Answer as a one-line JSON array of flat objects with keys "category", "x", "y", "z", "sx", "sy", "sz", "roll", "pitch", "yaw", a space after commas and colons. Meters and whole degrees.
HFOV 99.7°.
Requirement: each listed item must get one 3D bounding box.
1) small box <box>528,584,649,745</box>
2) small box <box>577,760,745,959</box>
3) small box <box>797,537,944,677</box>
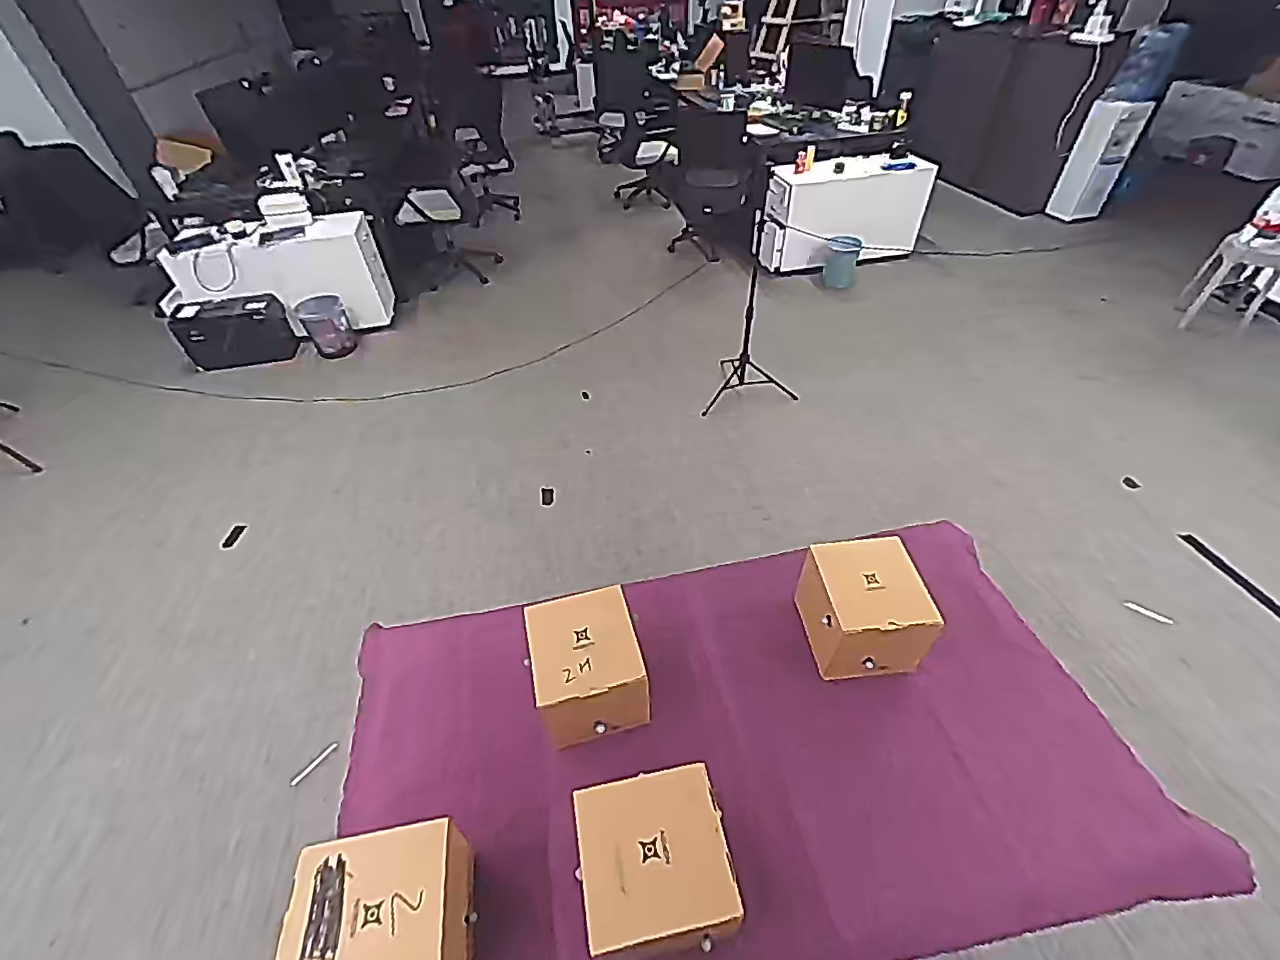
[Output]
[{"category": "small box", "x": -0.086, "y": 0.306, "z": 0.899, "sx": 0.168, "sy": 0.176, "sz": 0.179, "roll": -12, "pitch": 45, "yaw": -9}, {"category": "small box", "x": 0.018, "y": 0.491, "z": 0.696, "sx": 0.179, "sy": 0.176, "sz": 0.168, "roll": -8, "pitch": 43, "yaw": -7}, {"category": "small box", "x": 0.392, "y": 0.225, "z": 0.958, "sx": 0.168, "sy": 0.176, "sz": 0.179, "roll": -6, "pitch": 45, "yaw": -2}]
